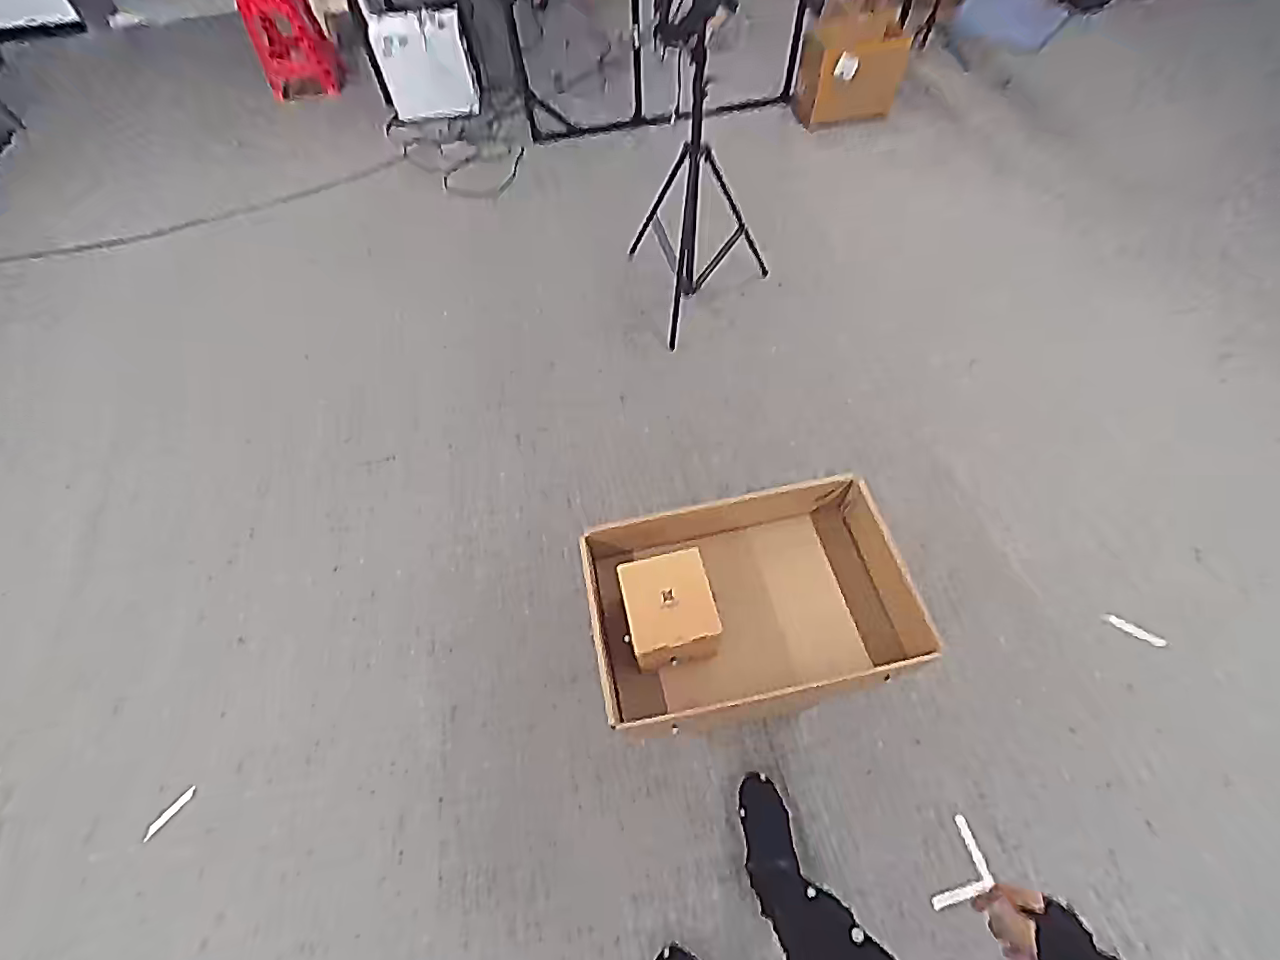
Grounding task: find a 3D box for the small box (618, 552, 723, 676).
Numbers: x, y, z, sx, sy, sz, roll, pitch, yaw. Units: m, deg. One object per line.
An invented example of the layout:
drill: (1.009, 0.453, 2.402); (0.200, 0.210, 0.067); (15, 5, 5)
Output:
small box: (0.056, 0.270, 1.079); (0.168, 0.176, 0.179); (-13, 60, -4)
